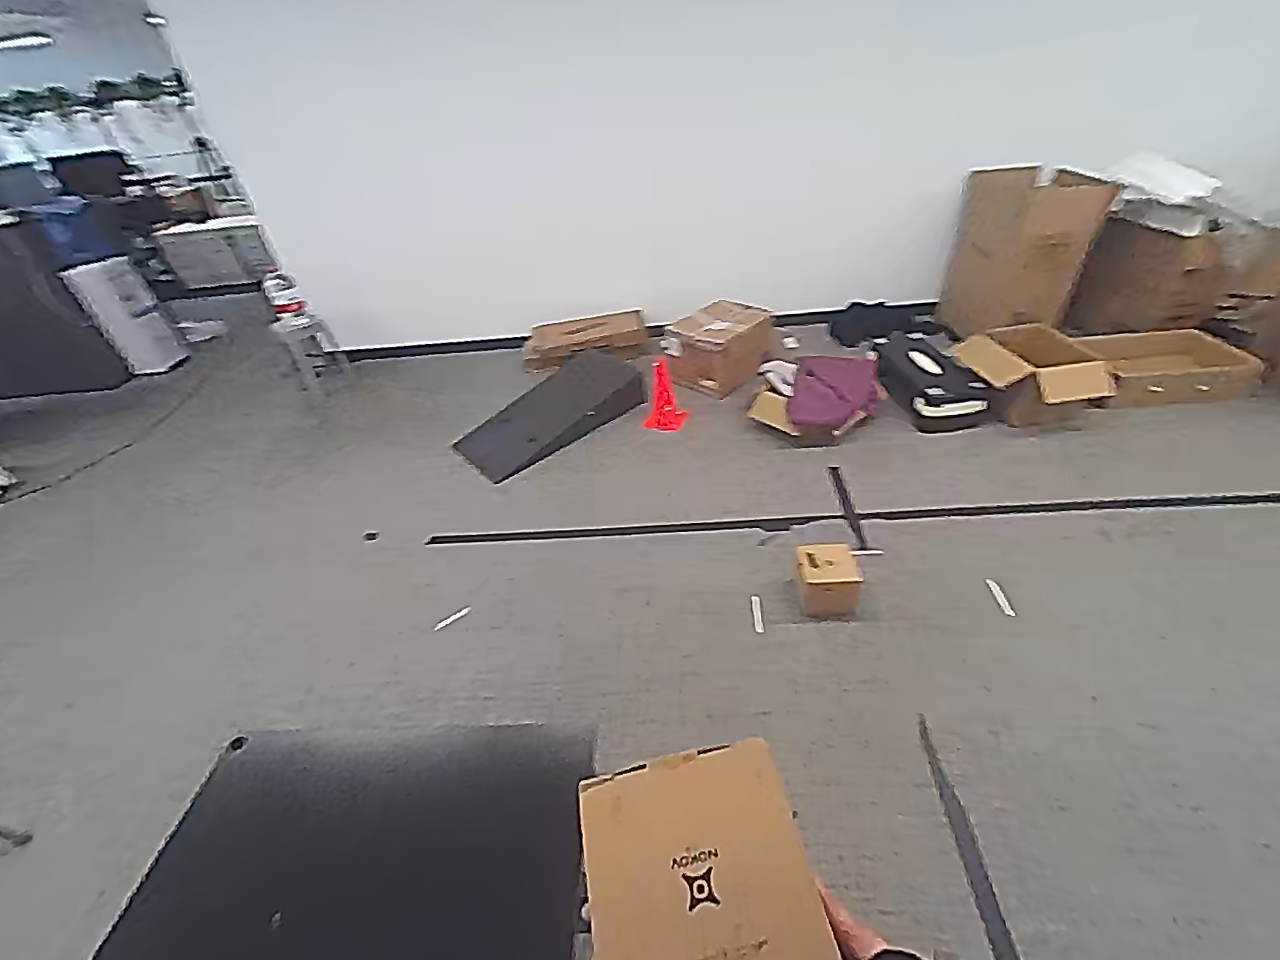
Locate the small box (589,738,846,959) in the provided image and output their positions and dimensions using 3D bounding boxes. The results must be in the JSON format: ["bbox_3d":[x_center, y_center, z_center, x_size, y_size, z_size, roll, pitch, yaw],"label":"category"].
[{"bbox_3d":[0.059,0.350,0.454,0.168,0.176,0.179,-13,46,-1],"label":"small box"}]

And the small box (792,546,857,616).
[{"bbox_3d":[0.614,0.342,1.823,0.179,0.176,0.168,-4,38,4],"label":"small box"}]
